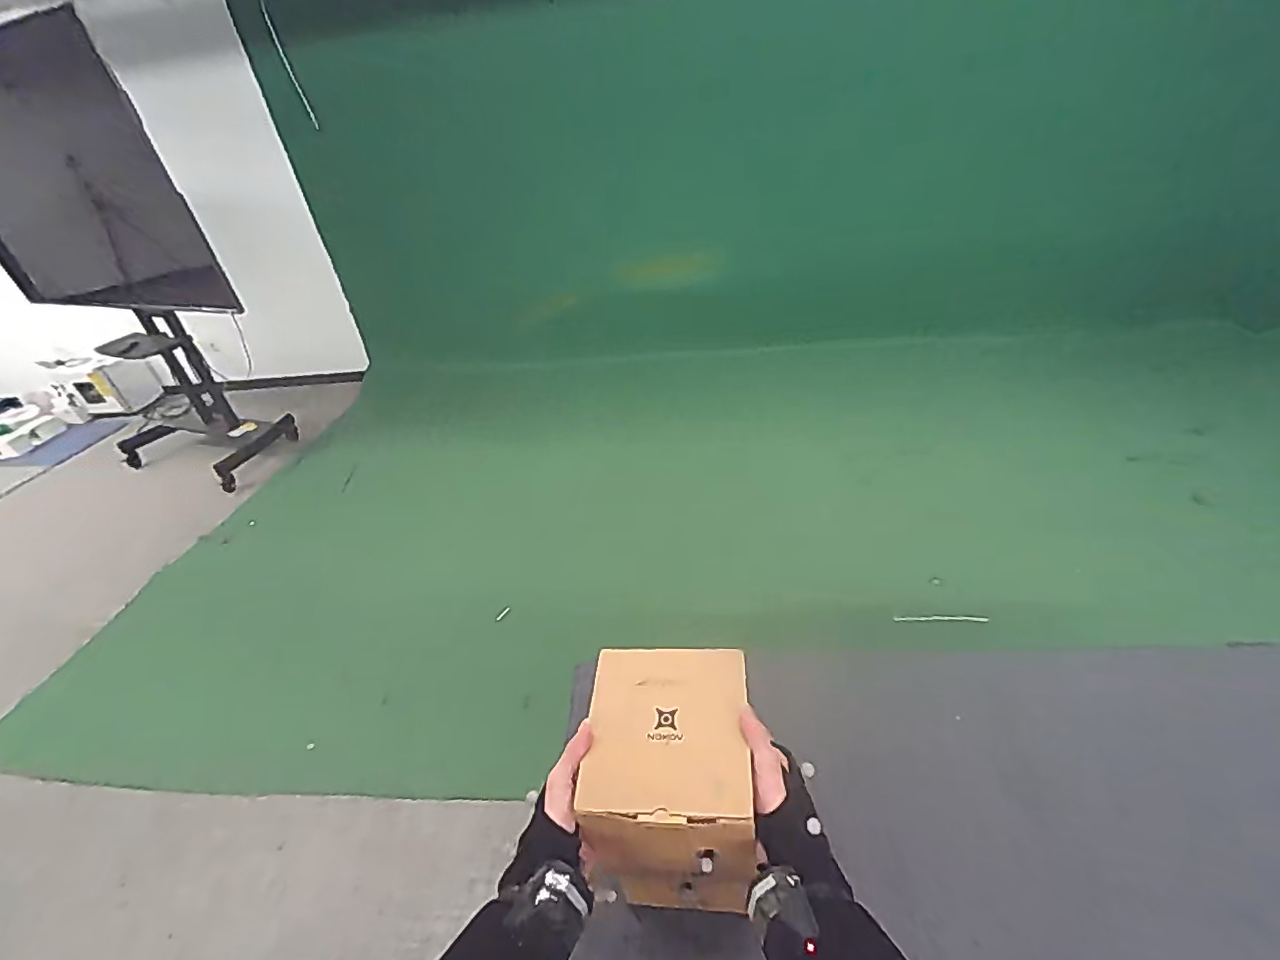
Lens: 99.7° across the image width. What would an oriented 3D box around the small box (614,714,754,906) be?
[{"bbox_3d":[0.066,0.446,0.734,0.168,0.176,0.179,-1,36,7],"label":"small box"}]
